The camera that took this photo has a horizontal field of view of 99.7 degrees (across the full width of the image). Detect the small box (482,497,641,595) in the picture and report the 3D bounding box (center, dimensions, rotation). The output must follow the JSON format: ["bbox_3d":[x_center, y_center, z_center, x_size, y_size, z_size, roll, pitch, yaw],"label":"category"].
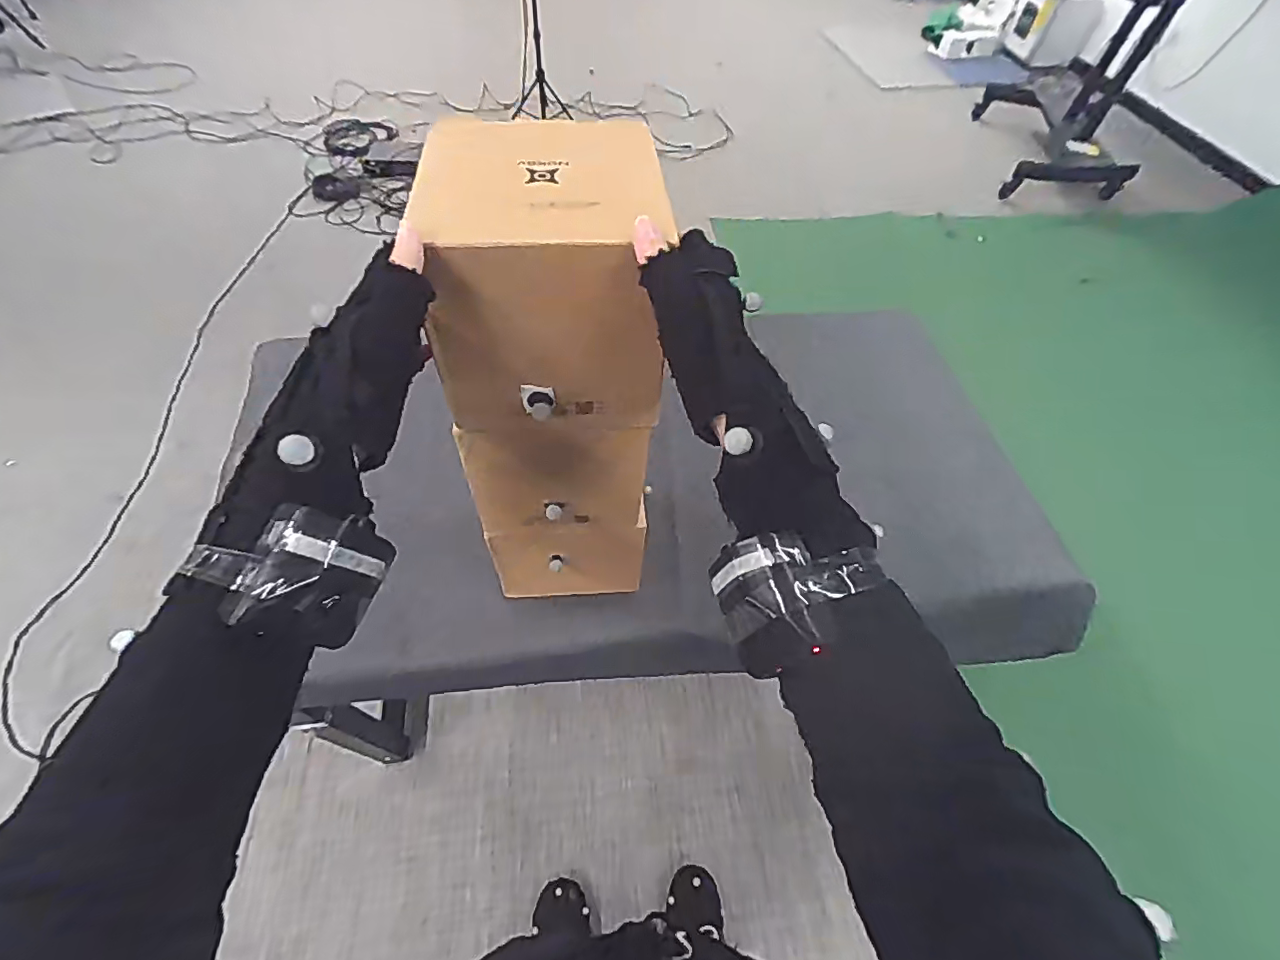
[{"bbox_3d":[-0.093,0.040,0.696,0.179,0.176,0.168,-2,54,-5],"label":"small box"}]

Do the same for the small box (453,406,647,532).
[{"bbox_3d":[-0.086,-0.062,0.567,0.168,0.176,0.179,-1,55,-6],"label":"small box"}]

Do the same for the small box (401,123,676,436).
[{"bbox_3d":[-0.070,-0.155,0.434,0.168,0.176,0.179,-2,54,-6],"label":"small box"}]
